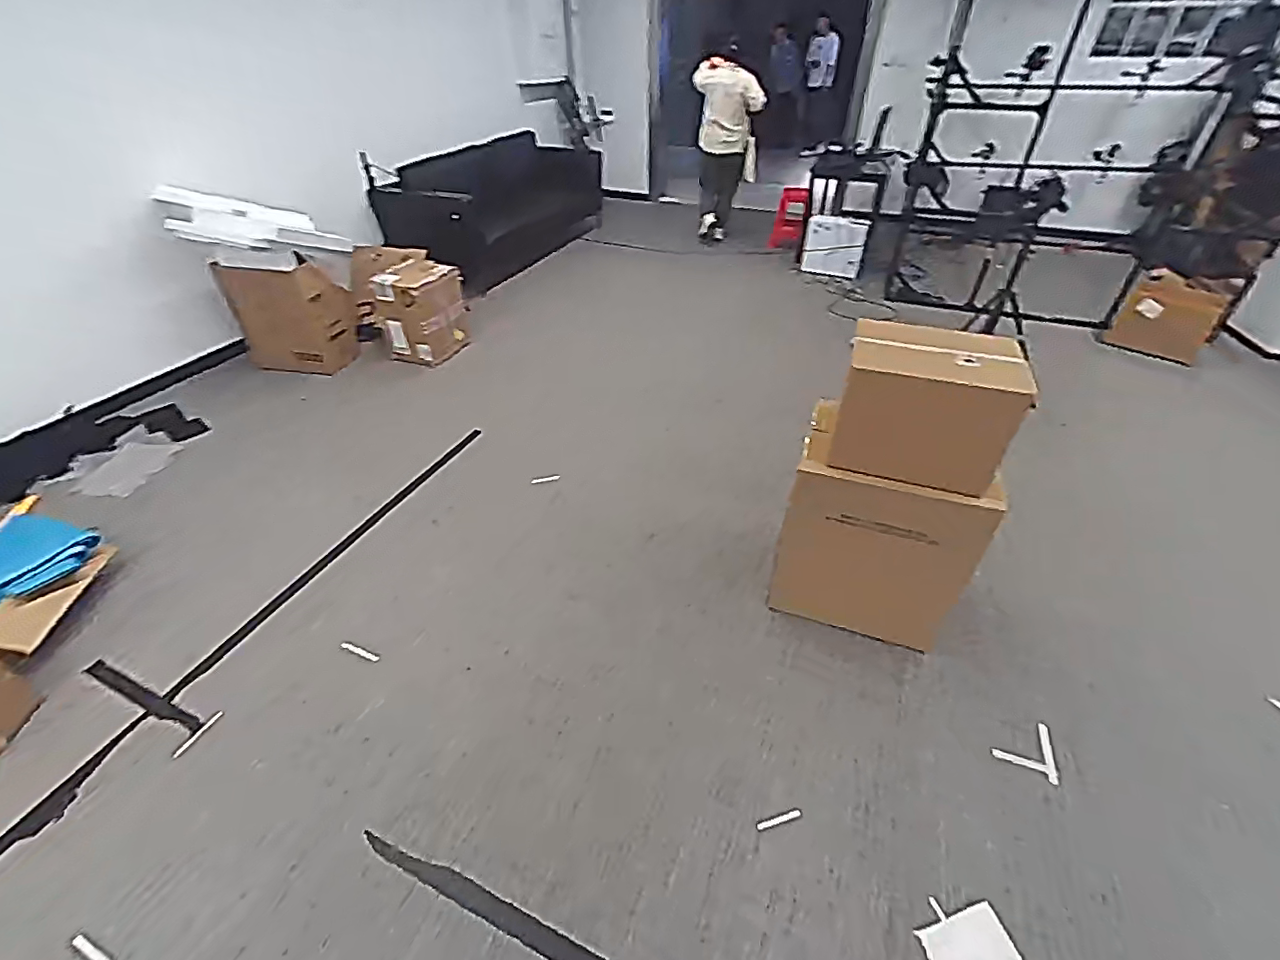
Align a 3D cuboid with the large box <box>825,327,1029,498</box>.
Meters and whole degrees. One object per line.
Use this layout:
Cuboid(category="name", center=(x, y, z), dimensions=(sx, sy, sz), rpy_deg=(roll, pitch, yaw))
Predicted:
Cuboid(category="large box", center=(0.751, -0.193, 1.485), dimensions=(0.408, 0.320, 0.320), rpy_deg=(13, 42, 16))
